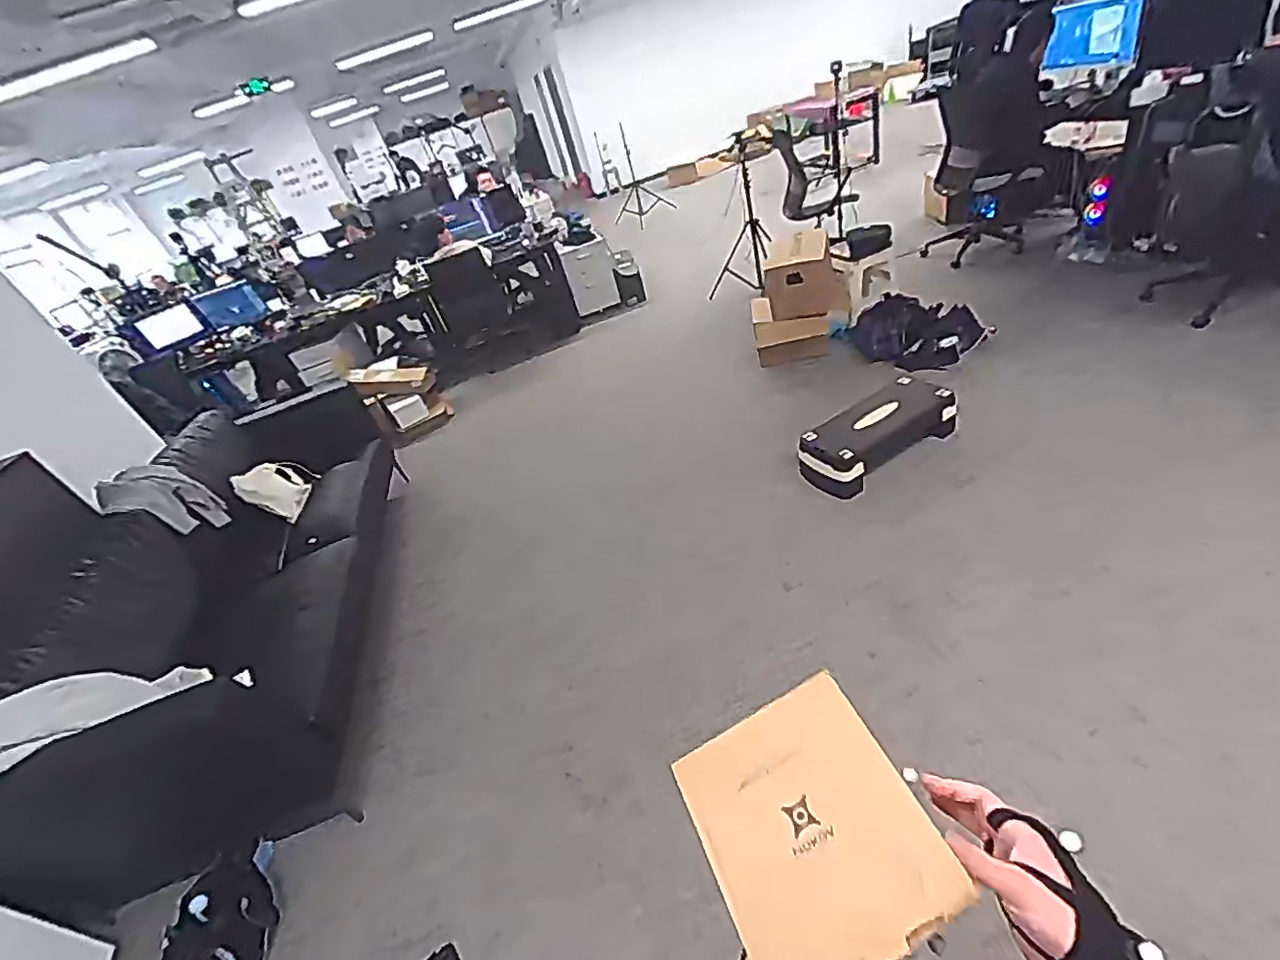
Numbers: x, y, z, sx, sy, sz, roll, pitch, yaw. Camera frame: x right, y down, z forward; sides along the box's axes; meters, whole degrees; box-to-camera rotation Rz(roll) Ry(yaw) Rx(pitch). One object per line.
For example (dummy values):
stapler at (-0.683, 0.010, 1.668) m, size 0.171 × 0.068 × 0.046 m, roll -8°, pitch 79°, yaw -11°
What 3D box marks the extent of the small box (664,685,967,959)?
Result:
small box at (0.151, 0.317, 0.471) m, size 0.168 × 0.176 × 0.179 m, roll -32°, pitch 45°, yaw 3°
